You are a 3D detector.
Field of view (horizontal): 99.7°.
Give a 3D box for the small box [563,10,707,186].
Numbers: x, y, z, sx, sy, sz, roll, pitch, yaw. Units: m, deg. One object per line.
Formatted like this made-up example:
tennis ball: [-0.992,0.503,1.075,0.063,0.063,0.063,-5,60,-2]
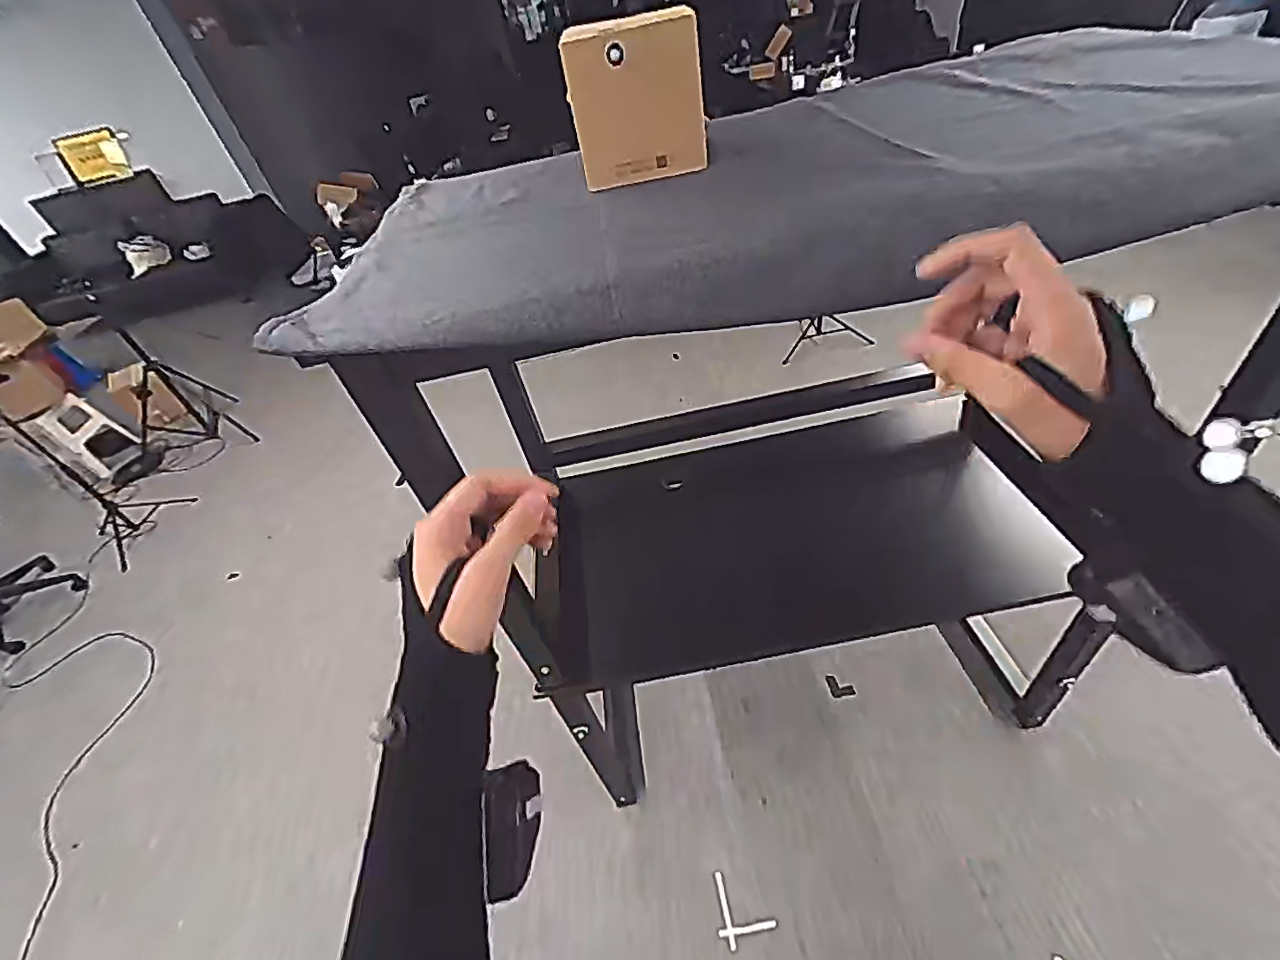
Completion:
small box: [-0.002,-0.529,0.753,0.168,0.176,0.179,-8,42,5]
